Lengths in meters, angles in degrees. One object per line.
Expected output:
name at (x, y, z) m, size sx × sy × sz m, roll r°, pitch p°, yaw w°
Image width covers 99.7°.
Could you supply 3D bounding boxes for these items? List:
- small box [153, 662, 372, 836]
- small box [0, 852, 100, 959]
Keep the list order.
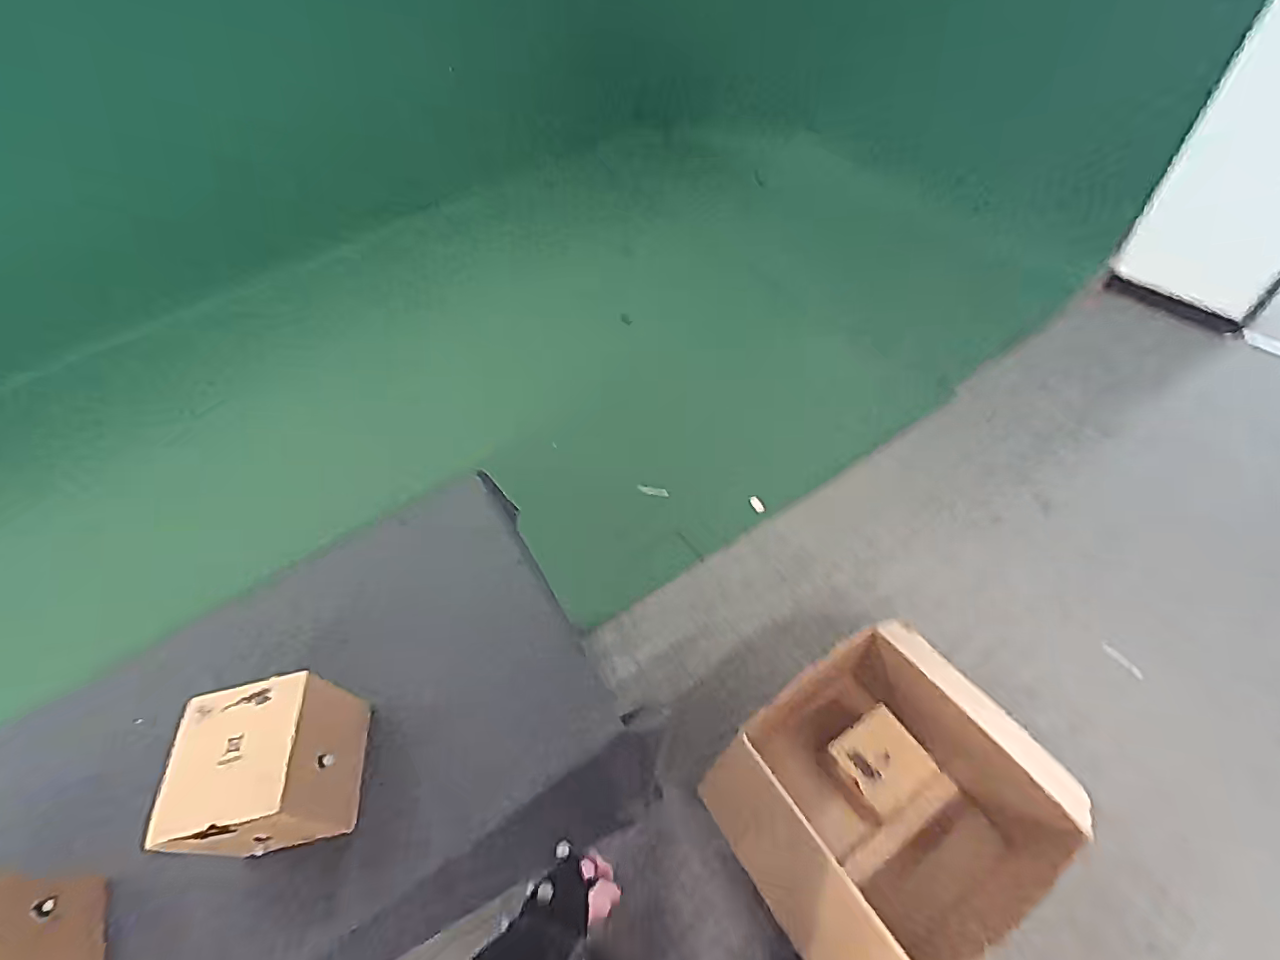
small box at (-0.500, 0.379, 0.752) m, size 0.168 × 0.176 × 0.179 m, roll -12°, pitch 52°, yaw 0°
small box at (-0.784, 0.575, 0.625) m, size 0.168 × 0.176 × 0.179 m, roll -31°, pitch 54°, yaw -15°
